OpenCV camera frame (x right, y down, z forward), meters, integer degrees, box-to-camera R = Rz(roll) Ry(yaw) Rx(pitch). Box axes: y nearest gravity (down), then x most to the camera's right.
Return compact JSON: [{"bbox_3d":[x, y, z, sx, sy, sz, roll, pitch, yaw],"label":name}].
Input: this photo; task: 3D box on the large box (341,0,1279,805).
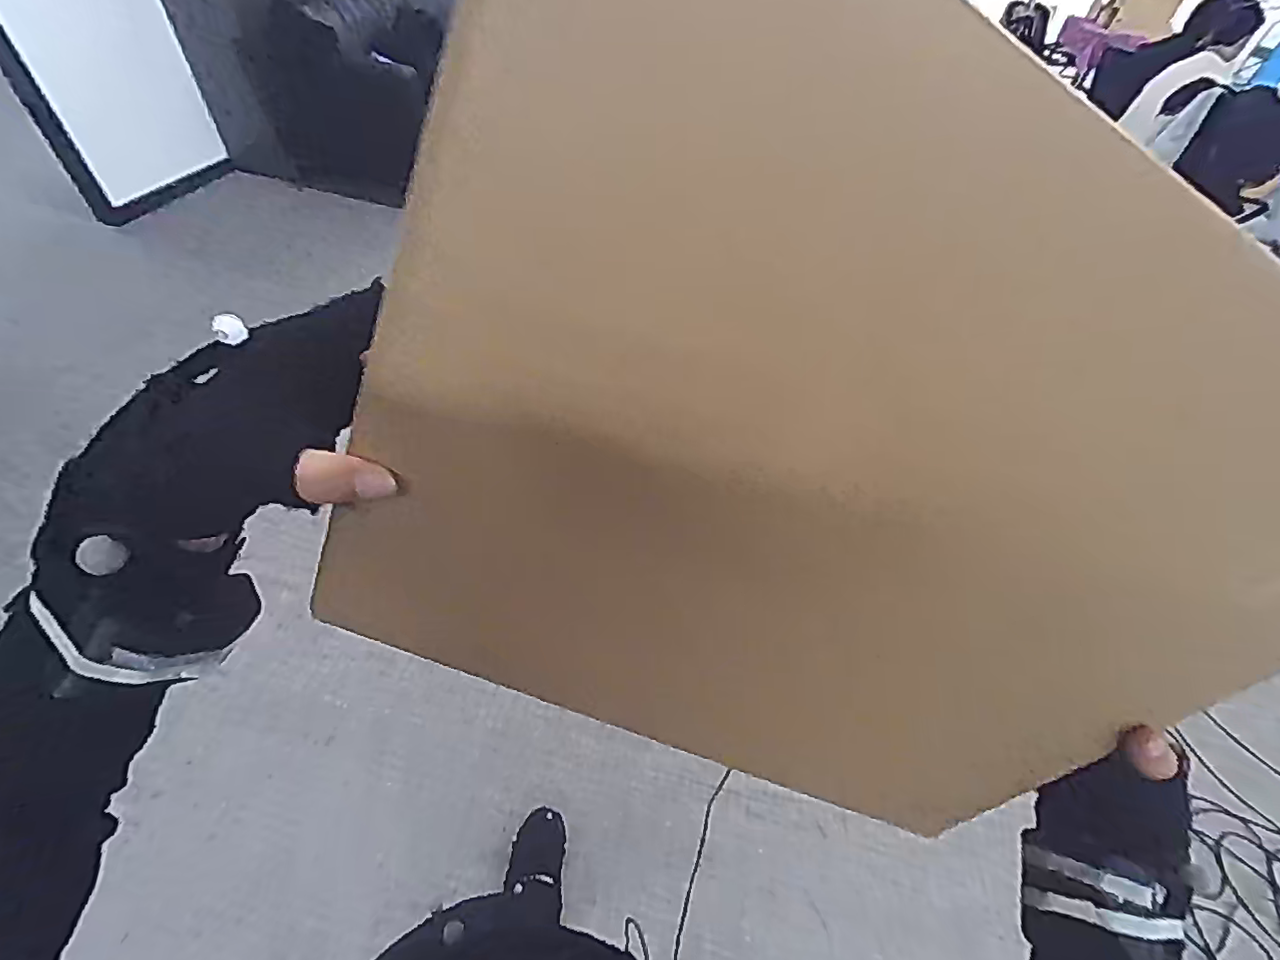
[{"bbox_3d":[0.095,-0.049,0.363,0.408,0.320,0.320,26,34,-13],"label":"large box"}]
